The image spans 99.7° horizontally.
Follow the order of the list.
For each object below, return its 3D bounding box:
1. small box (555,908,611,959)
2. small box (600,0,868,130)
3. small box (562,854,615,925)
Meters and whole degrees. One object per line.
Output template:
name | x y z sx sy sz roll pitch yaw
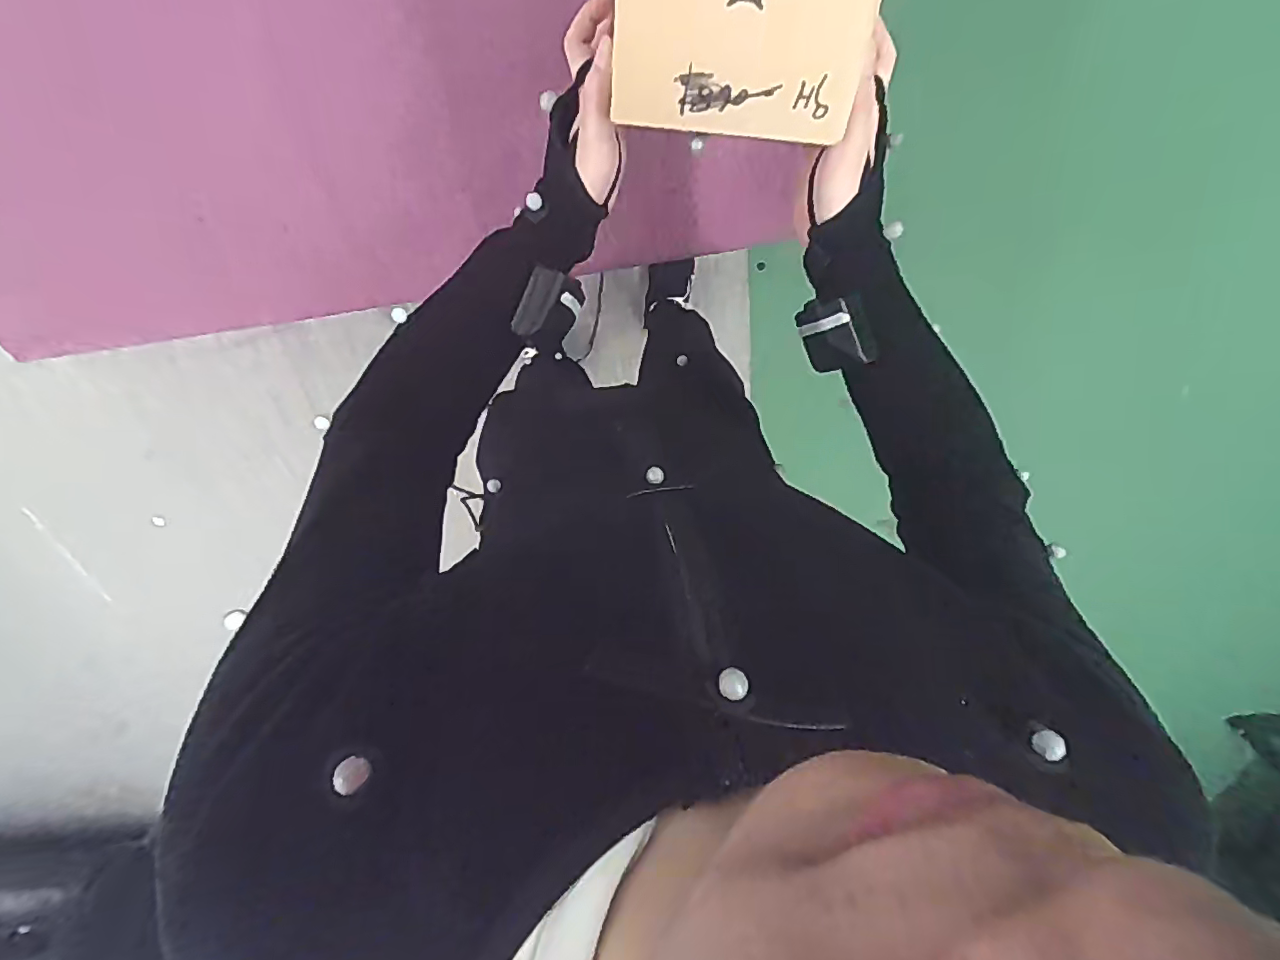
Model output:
small box | -0.186 1.565 1.802 0.168 0.176 0.179 -1 122 2
small box | 0.063 -0.365 0.384 0.168 0.176 0.179 5 127 -1
small box | -0.179 1.478 1.940 0.168 0.176 0.179 0 122 2
